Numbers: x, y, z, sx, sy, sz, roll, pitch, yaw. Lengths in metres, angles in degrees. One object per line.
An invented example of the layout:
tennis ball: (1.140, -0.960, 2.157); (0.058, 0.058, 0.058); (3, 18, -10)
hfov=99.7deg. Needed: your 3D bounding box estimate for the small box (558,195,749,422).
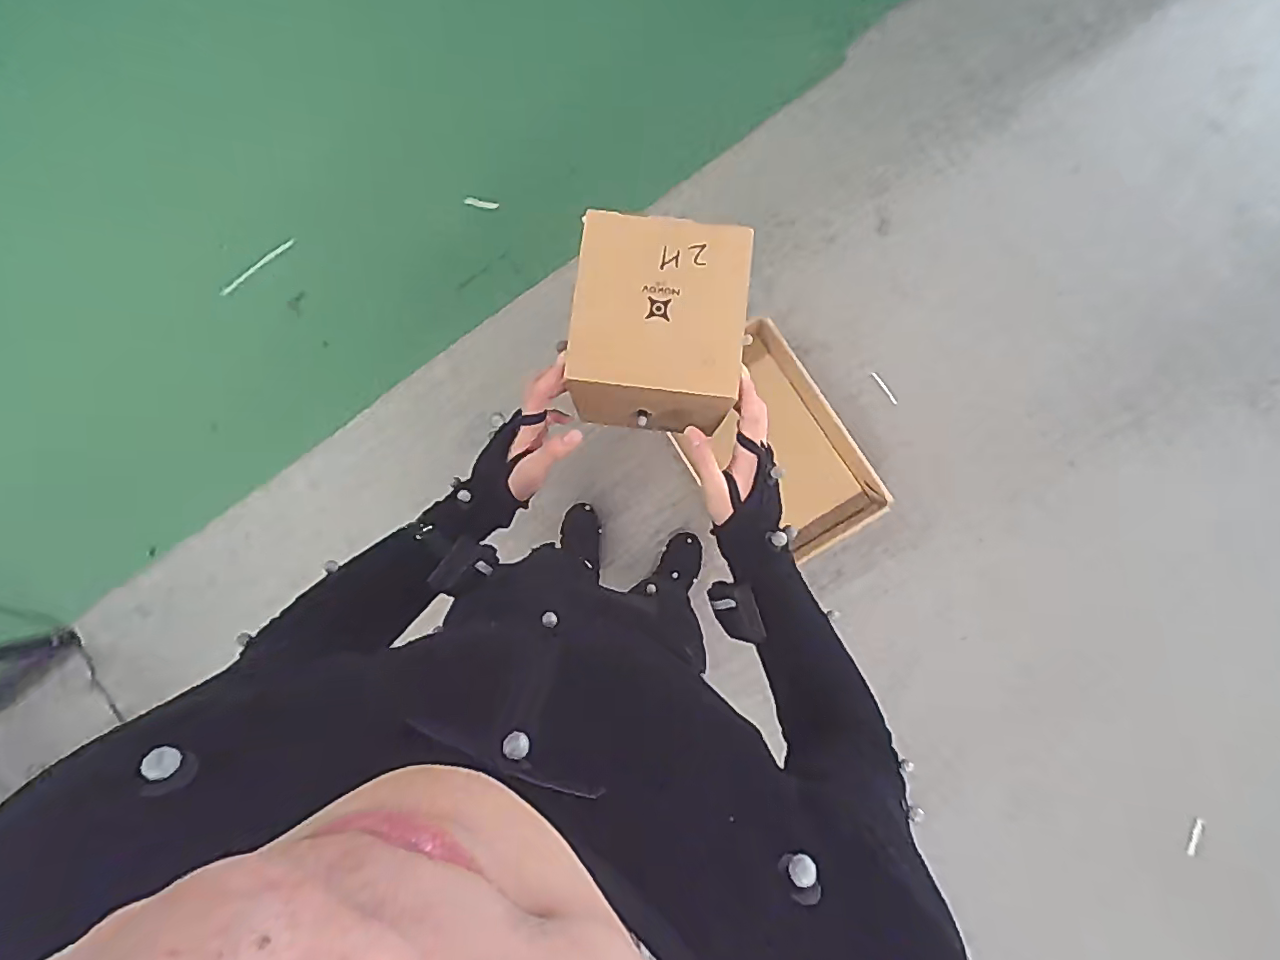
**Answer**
small box: (0.013, -0.168, 0.583); (0.168, 0.176, 0.179); (6, 82, -1)
